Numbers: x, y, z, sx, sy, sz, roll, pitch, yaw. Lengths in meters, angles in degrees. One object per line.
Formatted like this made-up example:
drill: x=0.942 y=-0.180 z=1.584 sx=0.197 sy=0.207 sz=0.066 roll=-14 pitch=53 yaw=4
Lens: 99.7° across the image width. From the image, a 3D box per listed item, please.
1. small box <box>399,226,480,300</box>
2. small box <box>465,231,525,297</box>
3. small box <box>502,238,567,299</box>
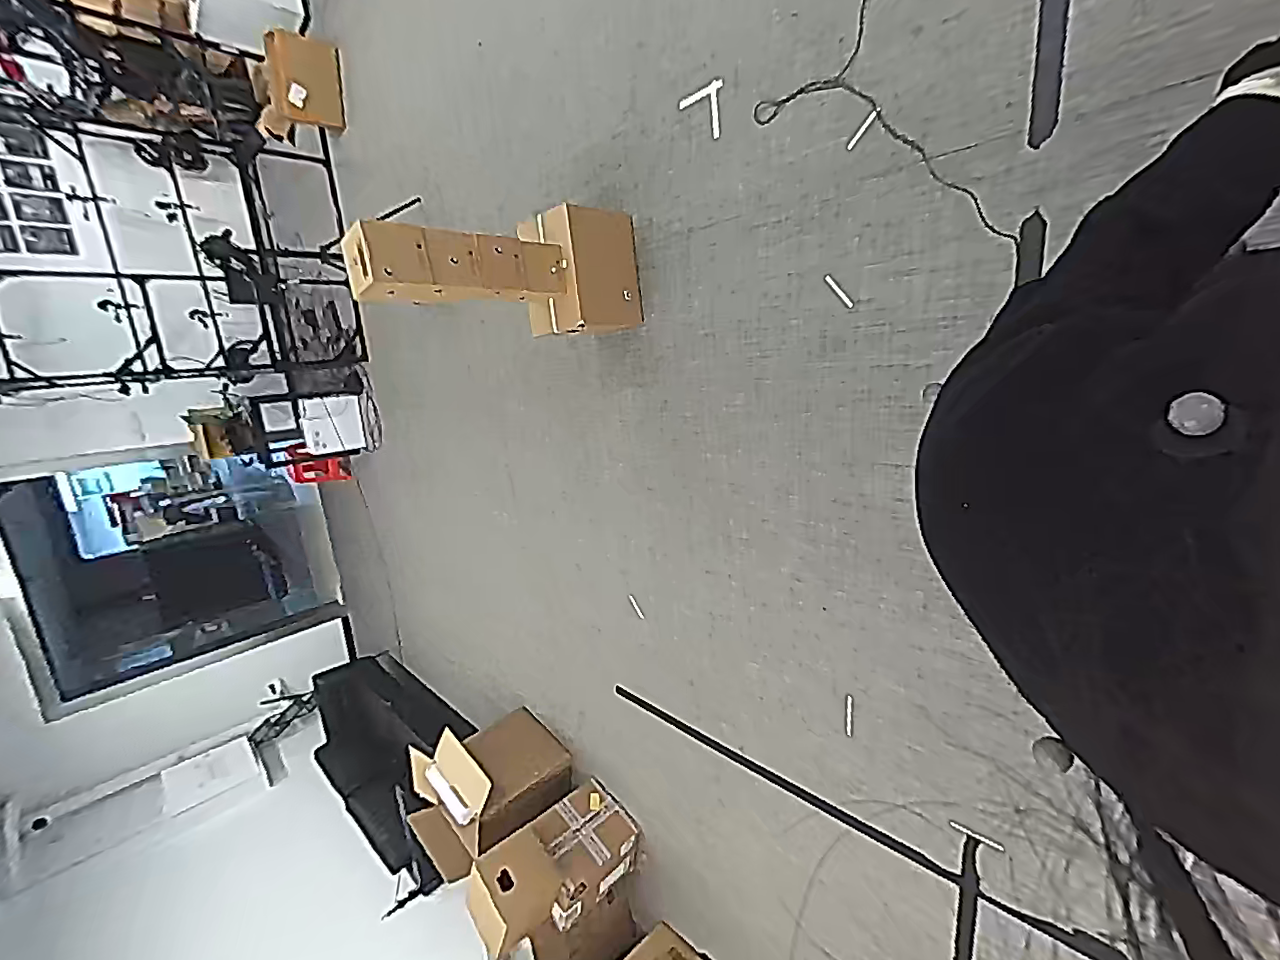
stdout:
small box: x=-0.605 y=-0.657 z=1.652 sx=0.179 sy=0.176 sz=0.168 roll=-3 pitch=99 yaw=46
small box: x=-0.487 y=-0.696 z=1.760 sx=0.179 sy=0.176 sz=0.168 roll=3 pitch=104 yaw=47
small box: x=-0.375 y=-0.727 z=1.874 sx=0.179 sy=0.176 sz=0.168 roll=4 pitch=106 yaw=45
